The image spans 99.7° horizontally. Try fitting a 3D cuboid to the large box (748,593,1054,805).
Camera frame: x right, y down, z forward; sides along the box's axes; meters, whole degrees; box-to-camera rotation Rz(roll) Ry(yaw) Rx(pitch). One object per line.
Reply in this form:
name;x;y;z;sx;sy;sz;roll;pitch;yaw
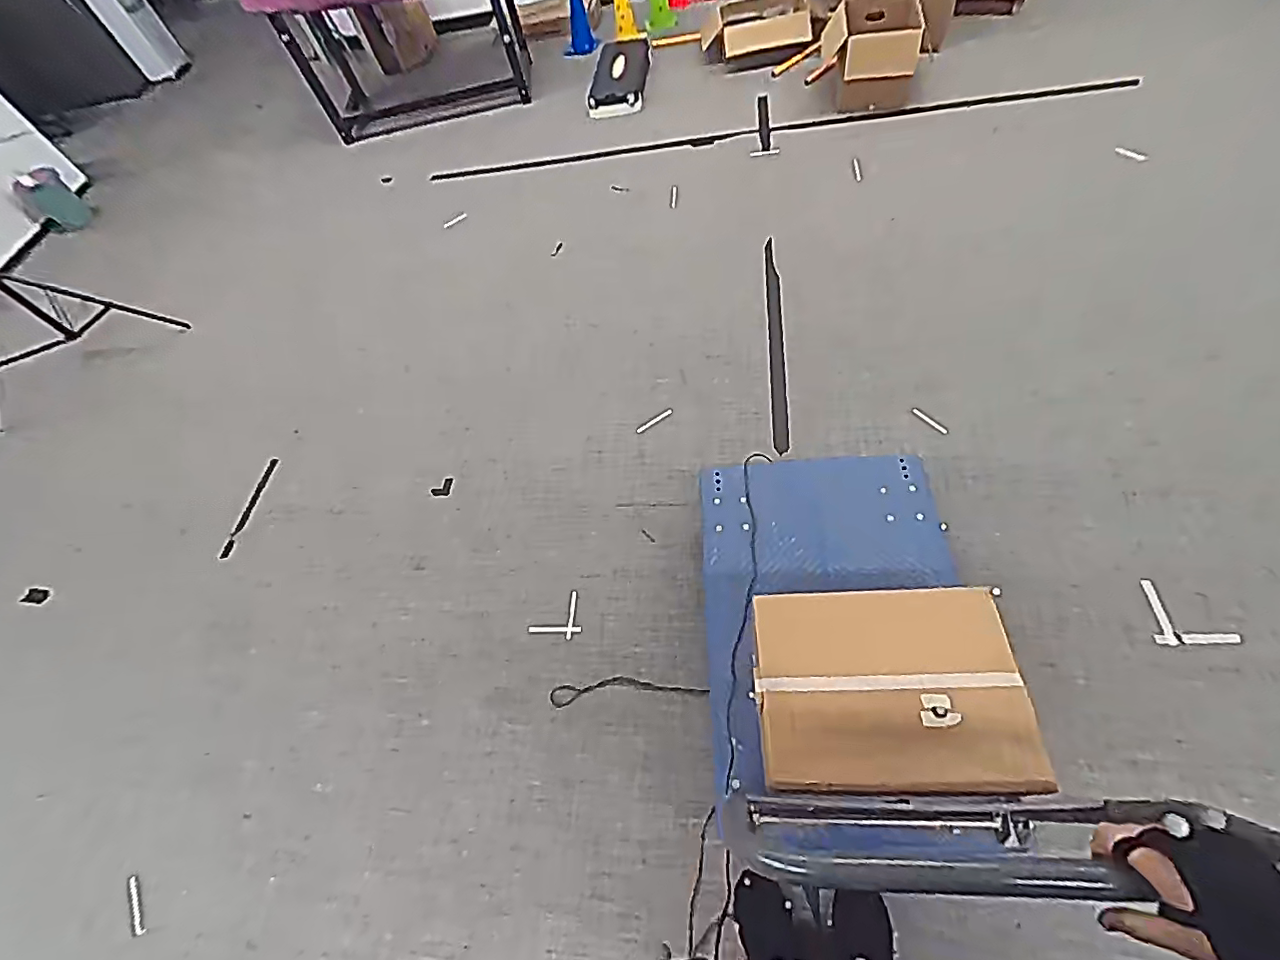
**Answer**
large box;0.420;0.417;0.999;0.408;0.320;0.320;-4;59;8
